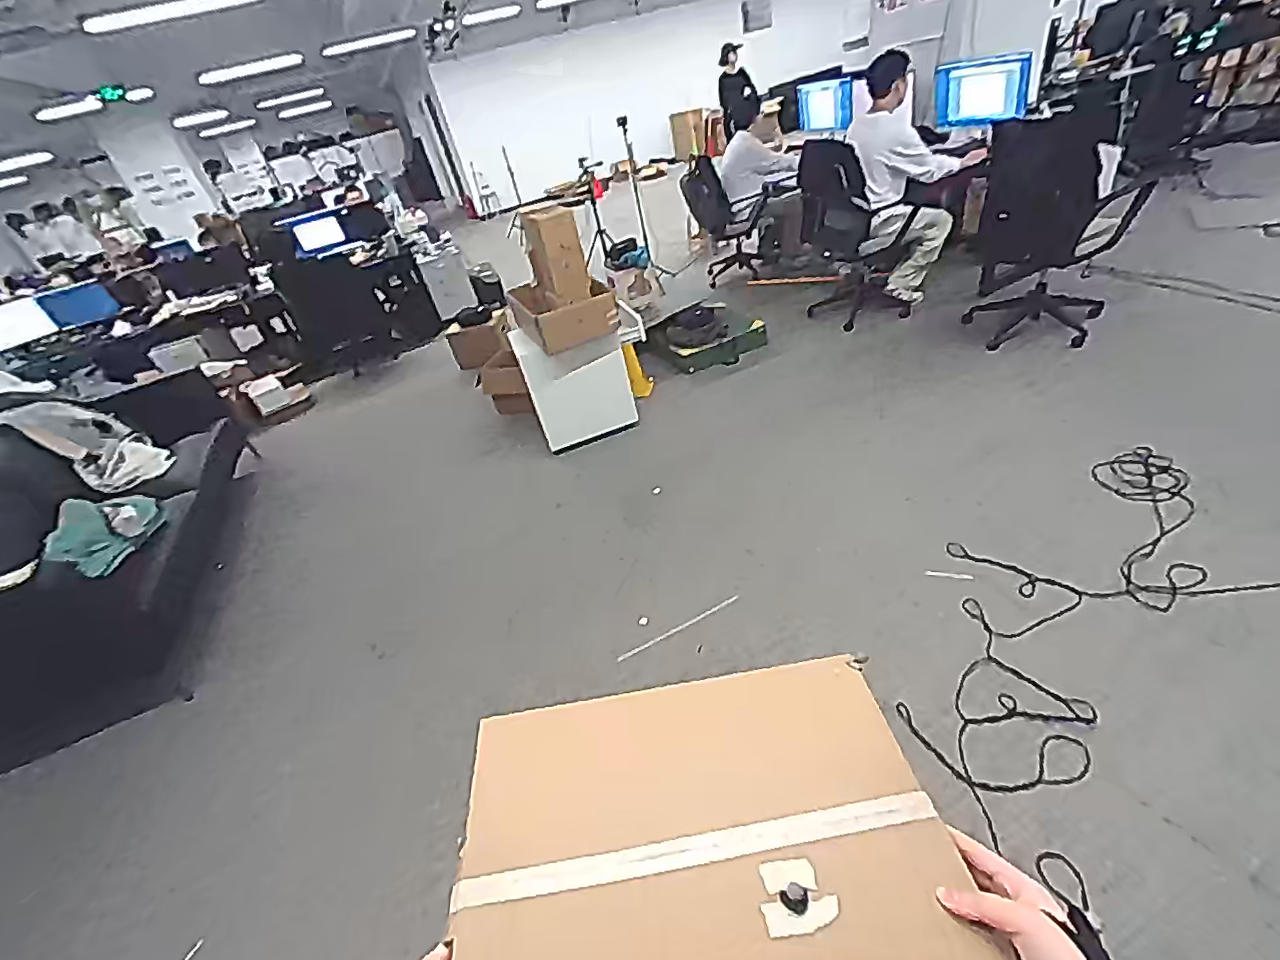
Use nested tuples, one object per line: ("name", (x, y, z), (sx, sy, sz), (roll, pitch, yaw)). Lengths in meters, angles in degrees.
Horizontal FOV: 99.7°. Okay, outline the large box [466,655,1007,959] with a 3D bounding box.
("large box", (0.066, 0.432, 0.555), (0.408, 0.320, 0.320), (-8, 36, -2))
